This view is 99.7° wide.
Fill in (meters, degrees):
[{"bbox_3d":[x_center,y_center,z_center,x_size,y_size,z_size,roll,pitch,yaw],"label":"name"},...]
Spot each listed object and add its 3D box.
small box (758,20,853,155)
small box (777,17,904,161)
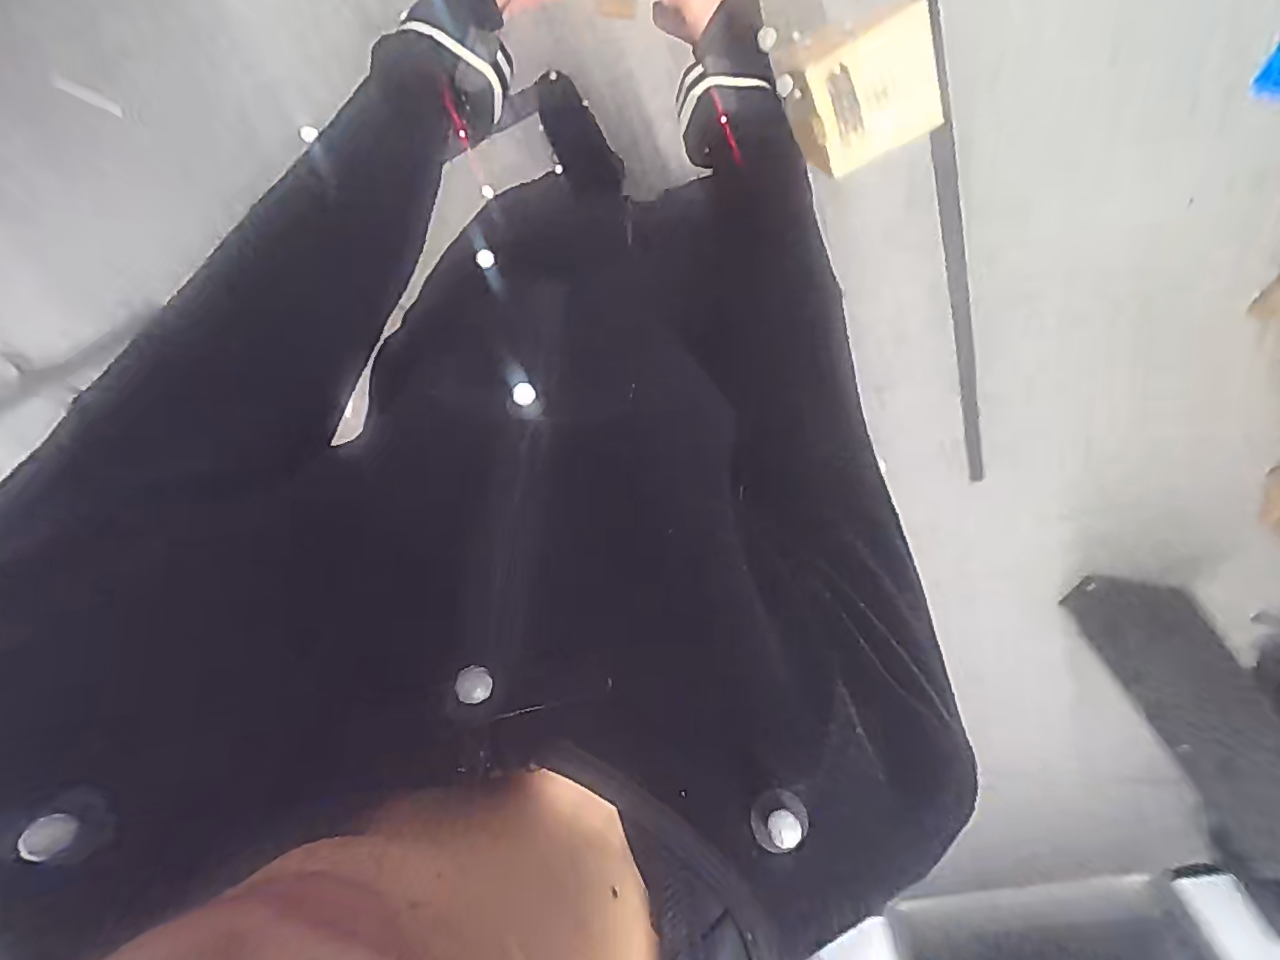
[{"bbox_3d":[0.361,-0.827,1.141,0.168,0.176,0.179,-20,126,16],"label":"small box"},{"bbox_3d":[0.370,-0.731,1.009,0.179,0.176,0.168,-16,128,14],"label":"small box"}]
